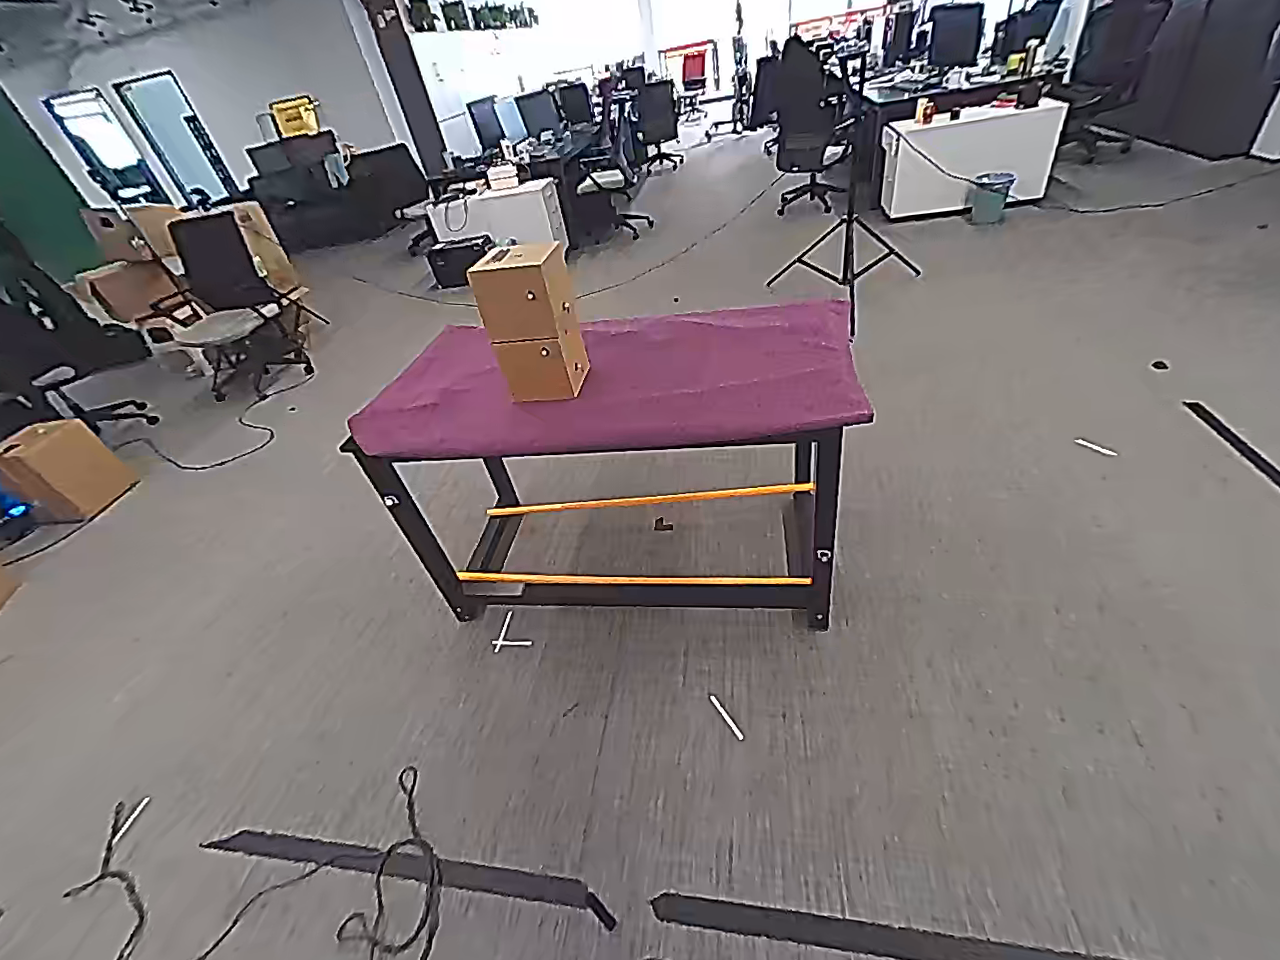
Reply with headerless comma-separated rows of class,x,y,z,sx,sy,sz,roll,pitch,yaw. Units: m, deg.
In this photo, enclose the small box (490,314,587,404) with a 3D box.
small box,-0.249,-0.303,1.376,0.179,0.176,0.168,-1,39,12
